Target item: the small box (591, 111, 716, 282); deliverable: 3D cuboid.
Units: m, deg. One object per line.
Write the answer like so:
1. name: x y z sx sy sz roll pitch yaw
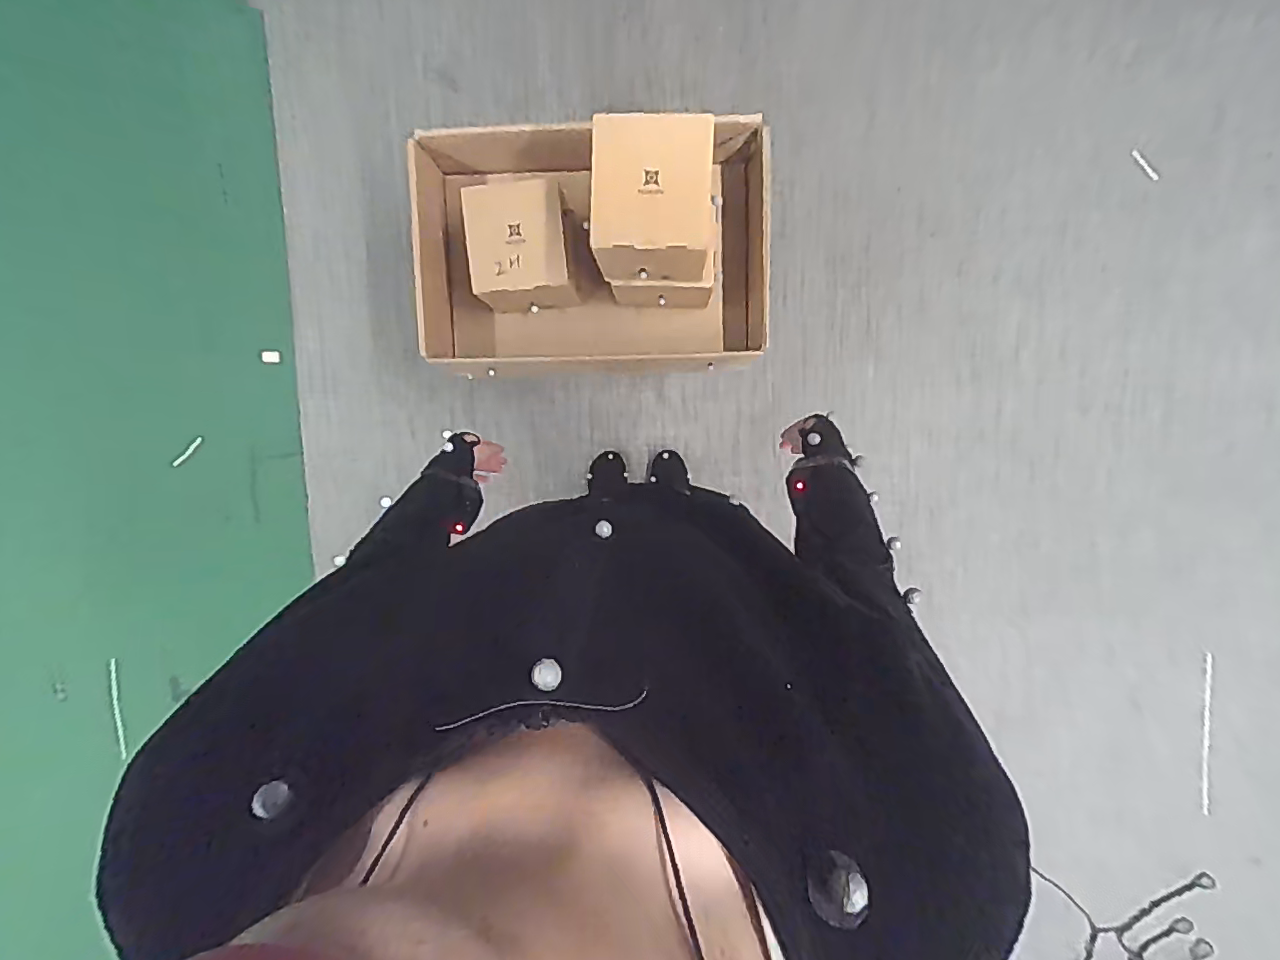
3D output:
1. small box: 0.020 -0.412 0.808 0.168 0.176 0.179 2 95 3
